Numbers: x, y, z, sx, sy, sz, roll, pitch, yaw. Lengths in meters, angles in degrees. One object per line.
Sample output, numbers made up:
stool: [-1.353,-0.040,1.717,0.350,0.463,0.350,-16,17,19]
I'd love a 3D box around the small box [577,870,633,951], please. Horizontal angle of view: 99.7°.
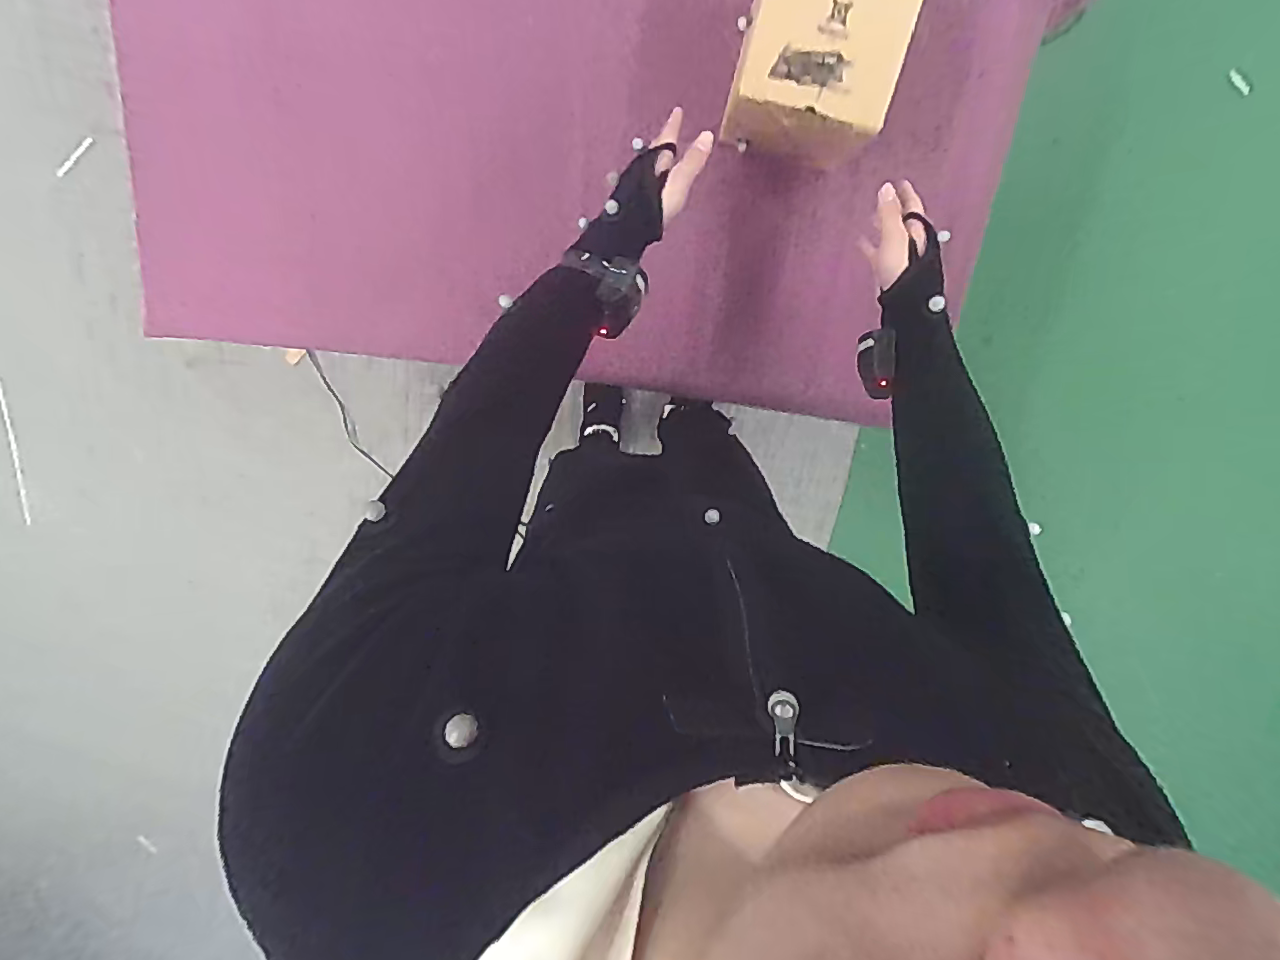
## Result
small box: [-0.127,1.590,2.004,0.179,0.176,0.168,11,106,-3]

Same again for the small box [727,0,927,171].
small box: [0.209,-0.497,0.644,0.168,0.176,0.179,14,105,-3]
